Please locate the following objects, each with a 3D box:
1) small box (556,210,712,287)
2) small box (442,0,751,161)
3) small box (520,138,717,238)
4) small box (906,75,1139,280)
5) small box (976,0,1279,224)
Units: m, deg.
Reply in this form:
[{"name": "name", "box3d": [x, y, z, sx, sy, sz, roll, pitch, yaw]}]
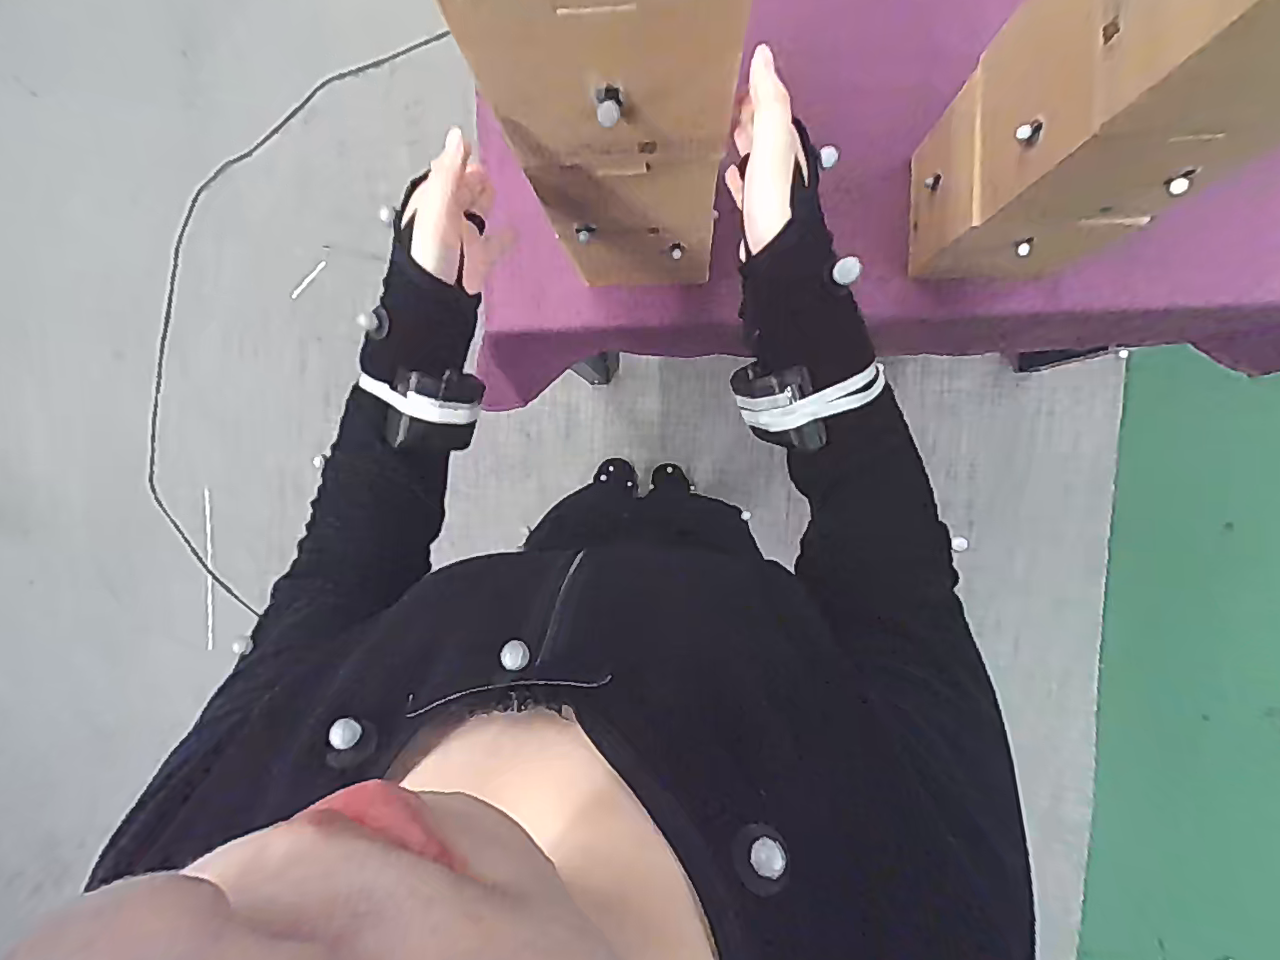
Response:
[{"name": "small box", "box3d": [-0.001, -0.349, 0.676, 0.179, 0.176, 0.168, 0, 92, 3]}, {"name": "small box", "box3d": [-0.016, -0.331, 0.348, 0.168, 0.176, 0.179, 0, 93, 3]}, {"name": "small box", "box3d": [-0.011, -0.344, 0.512, 0.168, 0.176, 0.179, 0, 91, 3]}, {"name": "small box", "box3d": [0.437, -0.345, 0.642, 0.179, 0.176, 0.168, 2, 93, 4]}, {"name": "small box", "box3d": [0.426, -0.344, 0.479, 0.168, 0.176, 0.179, -1, 92, 4]}]
